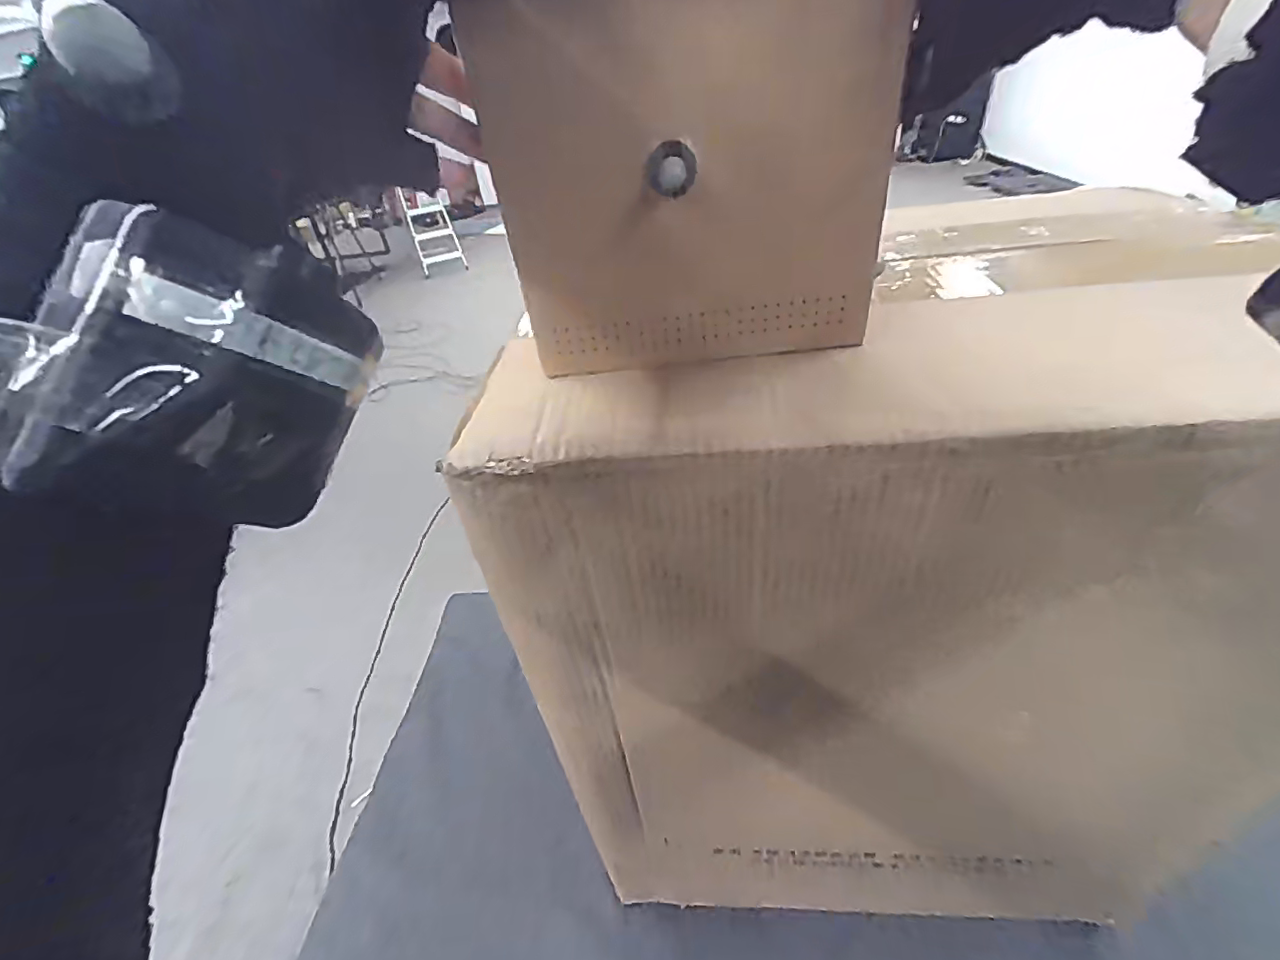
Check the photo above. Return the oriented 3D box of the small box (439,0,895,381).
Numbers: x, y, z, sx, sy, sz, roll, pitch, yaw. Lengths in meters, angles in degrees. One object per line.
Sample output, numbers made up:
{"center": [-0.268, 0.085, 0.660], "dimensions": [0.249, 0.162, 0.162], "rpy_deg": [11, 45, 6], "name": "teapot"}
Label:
{"center": [0.020, -0.174, 0.310], "dimensions": [0.179, 0.176, 0.168], "rpy_deg": [-6, 39, 6], "name": "small box"}
